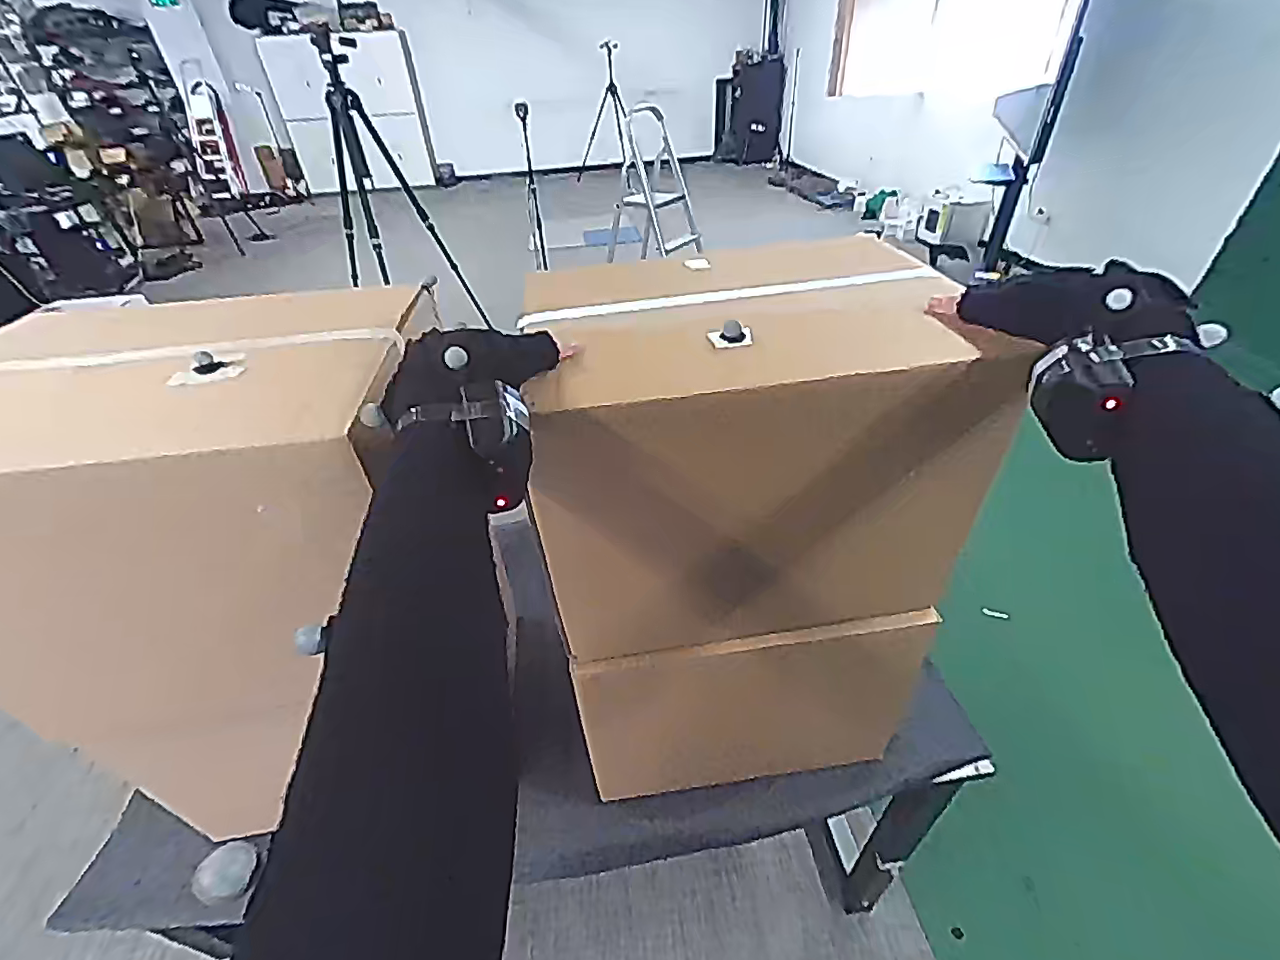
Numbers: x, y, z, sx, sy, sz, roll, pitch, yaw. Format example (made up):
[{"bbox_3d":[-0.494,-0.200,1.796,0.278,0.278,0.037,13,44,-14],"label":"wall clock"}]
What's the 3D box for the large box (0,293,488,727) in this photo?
[{"bbox_3d":[-0.403,0.016,0.572,0.408,0.320,0.320,-5,40,-5],"label":"large box"}]
